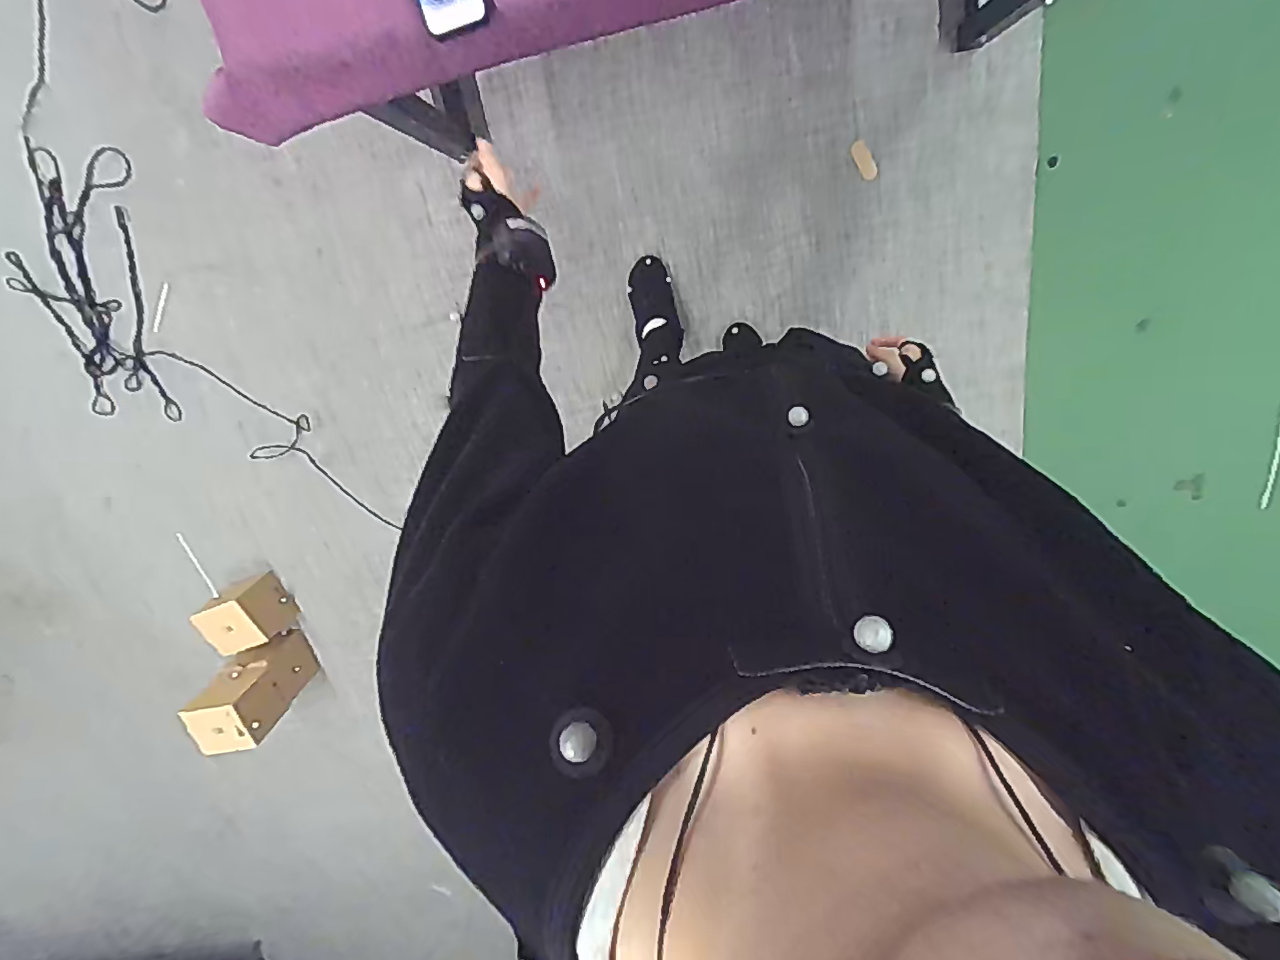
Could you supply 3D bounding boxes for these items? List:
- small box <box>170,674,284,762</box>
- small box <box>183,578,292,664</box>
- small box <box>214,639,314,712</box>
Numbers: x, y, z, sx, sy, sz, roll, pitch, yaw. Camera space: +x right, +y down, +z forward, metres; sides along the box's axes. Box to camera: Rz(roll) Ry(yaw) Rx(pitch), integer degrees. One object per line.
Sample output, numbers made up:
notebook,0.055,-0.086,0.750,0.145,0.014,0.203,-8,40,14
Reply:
small box,-1.214,0.701,1.603,0.179,0.176,0.168,-9,111,7
small box,-1.237,0.431,1.677,0.179,0.176,0.168,-20,110,9
small box,-1.210,0.636,1.754,0.168,0.176,0.179,-11,111,7
